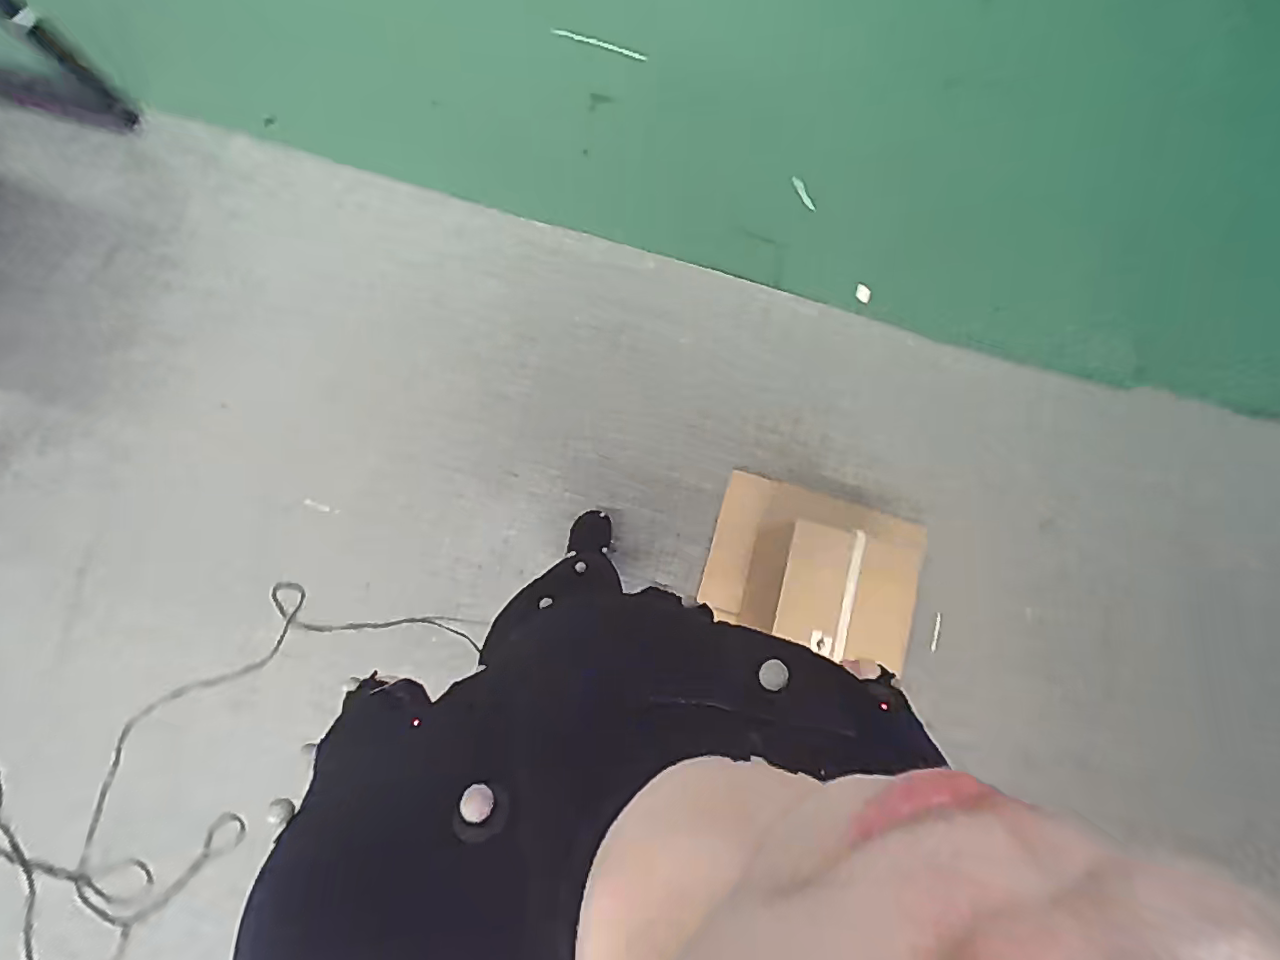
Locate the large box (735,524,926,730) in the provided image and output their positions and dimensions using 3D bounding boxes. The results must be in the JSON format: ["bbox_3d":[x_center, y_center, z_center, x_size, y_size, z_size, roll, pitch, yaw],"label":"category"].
[{"bbox_3d":[0.459,0.343,1.361,0.320,0.320,0.408,15,82,-1],"label":"large box"}]
